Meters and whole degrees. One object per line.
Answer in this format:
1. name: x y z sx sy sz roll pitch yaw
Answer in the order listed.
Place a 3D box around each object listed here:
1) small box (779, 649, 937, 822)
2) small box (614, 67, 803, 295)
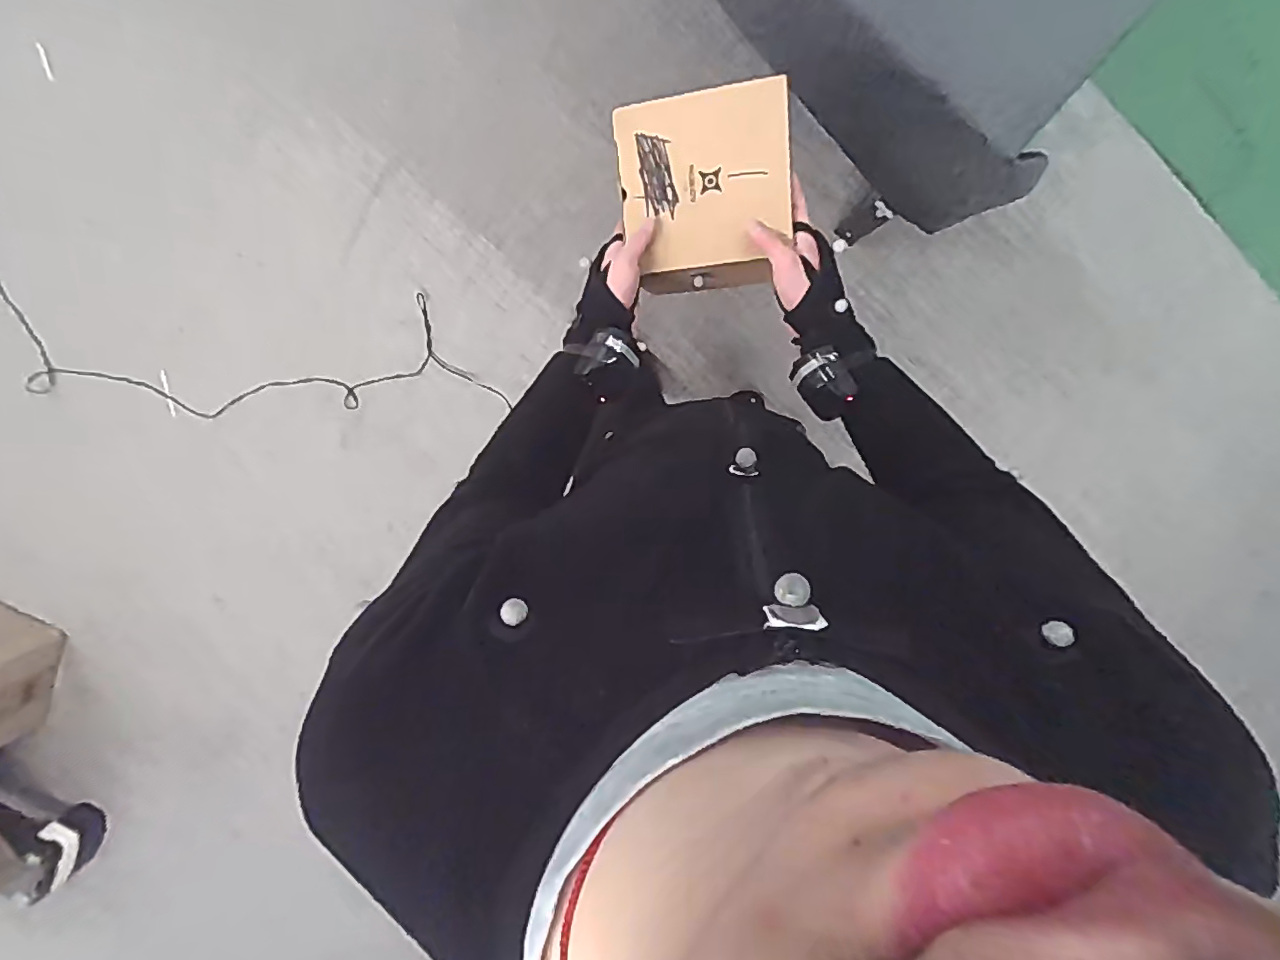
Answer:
1. small box: 0.366 0.439 0.950 0.168 0.176 0.179 39 102 -8
2. small box: 0.079 -0.312 0.606 0.179 0.176 0.168 -5 100 9
